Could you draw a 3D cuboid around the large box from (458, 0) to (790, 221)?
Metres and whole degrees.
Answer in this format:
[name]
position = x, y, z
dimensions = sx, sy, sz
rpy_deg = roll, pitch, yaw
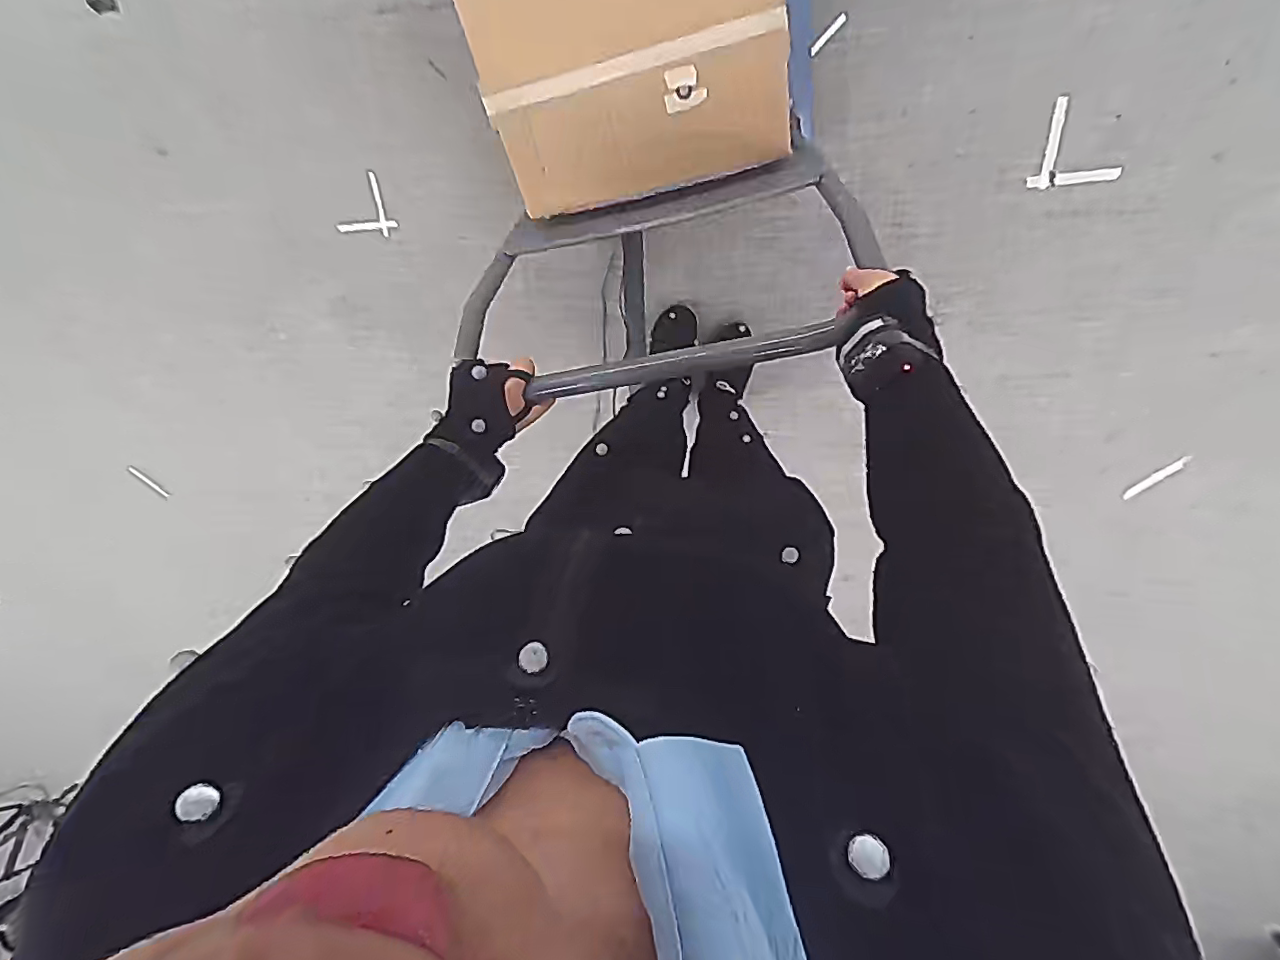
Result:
[large box]
position = -0.006, -0.650, 0.839
dimensions = 0.408, 0.320, 0.320
rpy_deg = -9, 131, 11
